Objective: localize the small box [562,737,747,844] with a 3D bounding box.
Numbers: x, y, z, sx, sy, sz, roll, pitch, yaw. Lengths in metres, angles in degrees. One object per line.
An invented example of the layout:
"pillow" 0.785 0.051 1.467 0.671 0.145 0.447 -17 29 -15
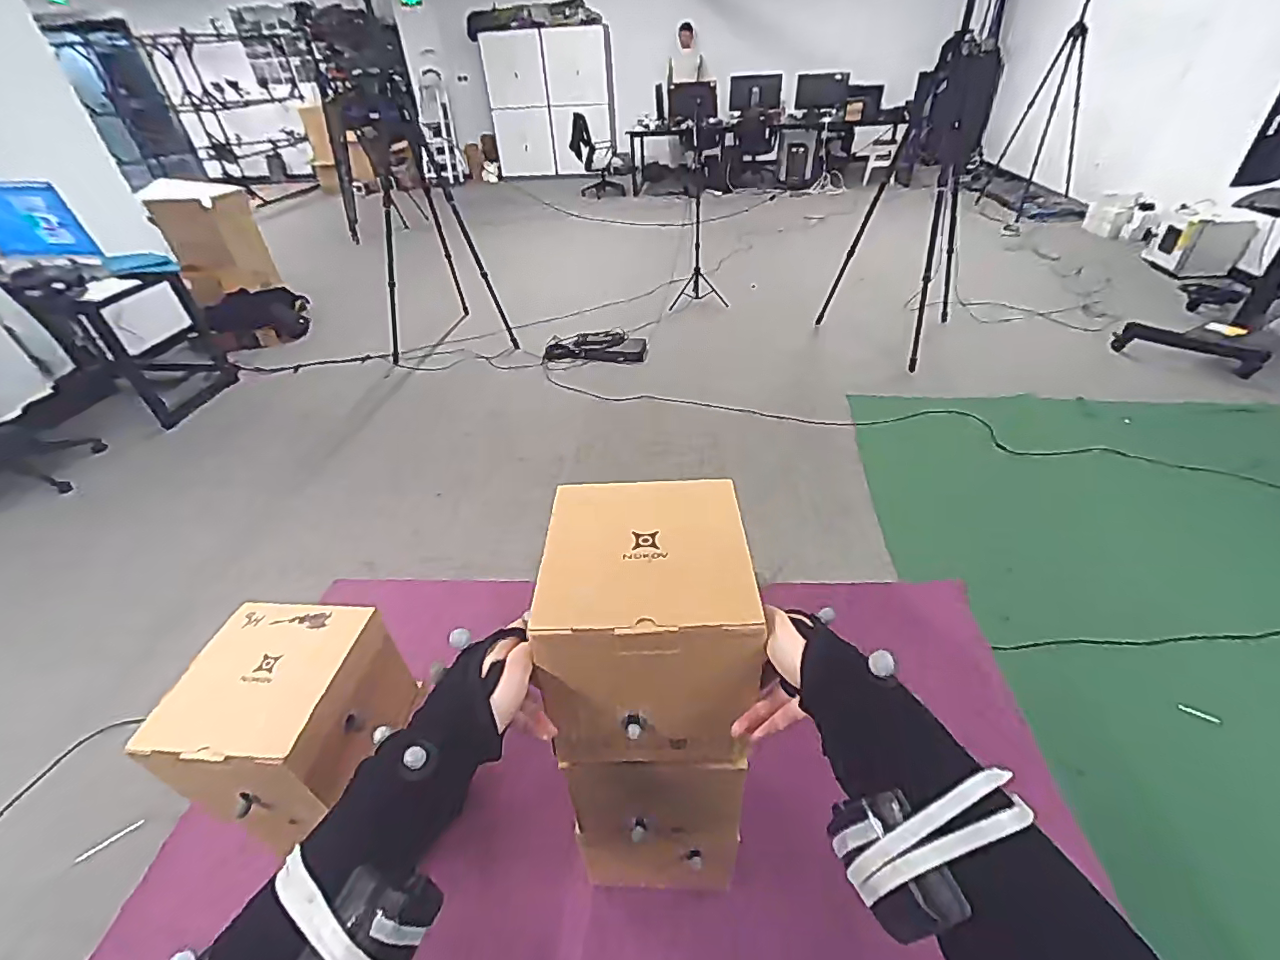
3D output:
"small box" 0.020 0.260 0.582 0.168 0.176 0.179 -2 38 4

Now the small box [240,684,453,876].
"small box" -0.367 0.391 0.719 0.168 0.176 0.179 0 39 6

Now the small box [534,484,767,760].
"small box" 0.011 0.123 0.486 0.168 0.176 0.179 -3 35 1

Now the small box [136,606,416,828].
"small box" -0.381 0.267 0.612 0.168 0.176 0.179 1 39 6

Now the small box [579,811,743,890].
"small box" 0.030 0.390 0.681 0.179 0.176 0.168 -1 38 5
